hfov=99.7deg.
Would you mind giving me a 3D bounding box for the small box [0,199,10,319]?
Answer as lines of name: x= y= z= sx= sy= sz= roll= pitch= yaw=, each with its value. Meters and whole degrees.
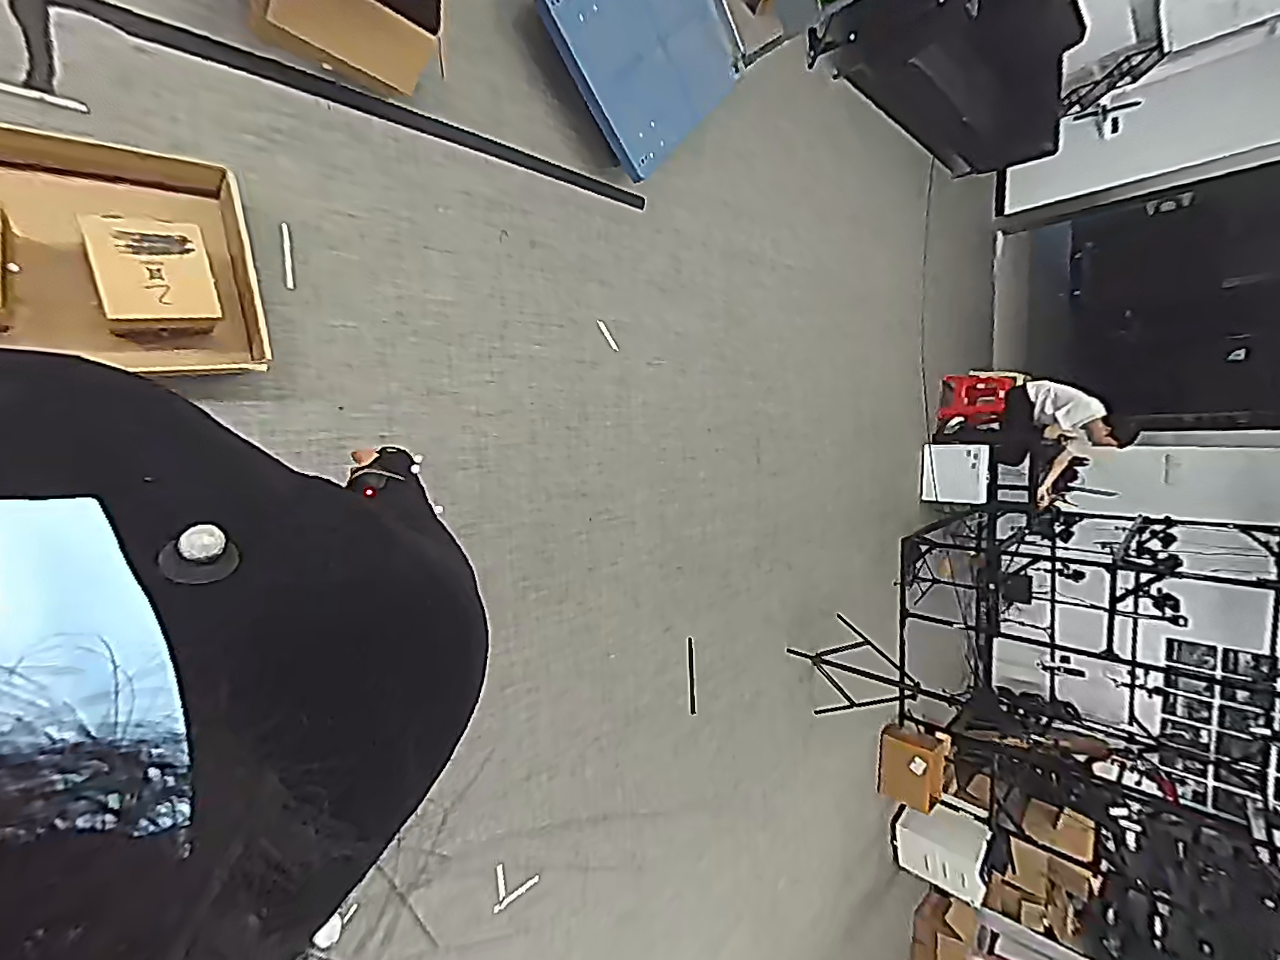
small box: x=-1.124 y=-0.367 z=0.847 sx=0.168 sy=0.176 sz=0.179 roll=0 pitch=93 yaw=-46
